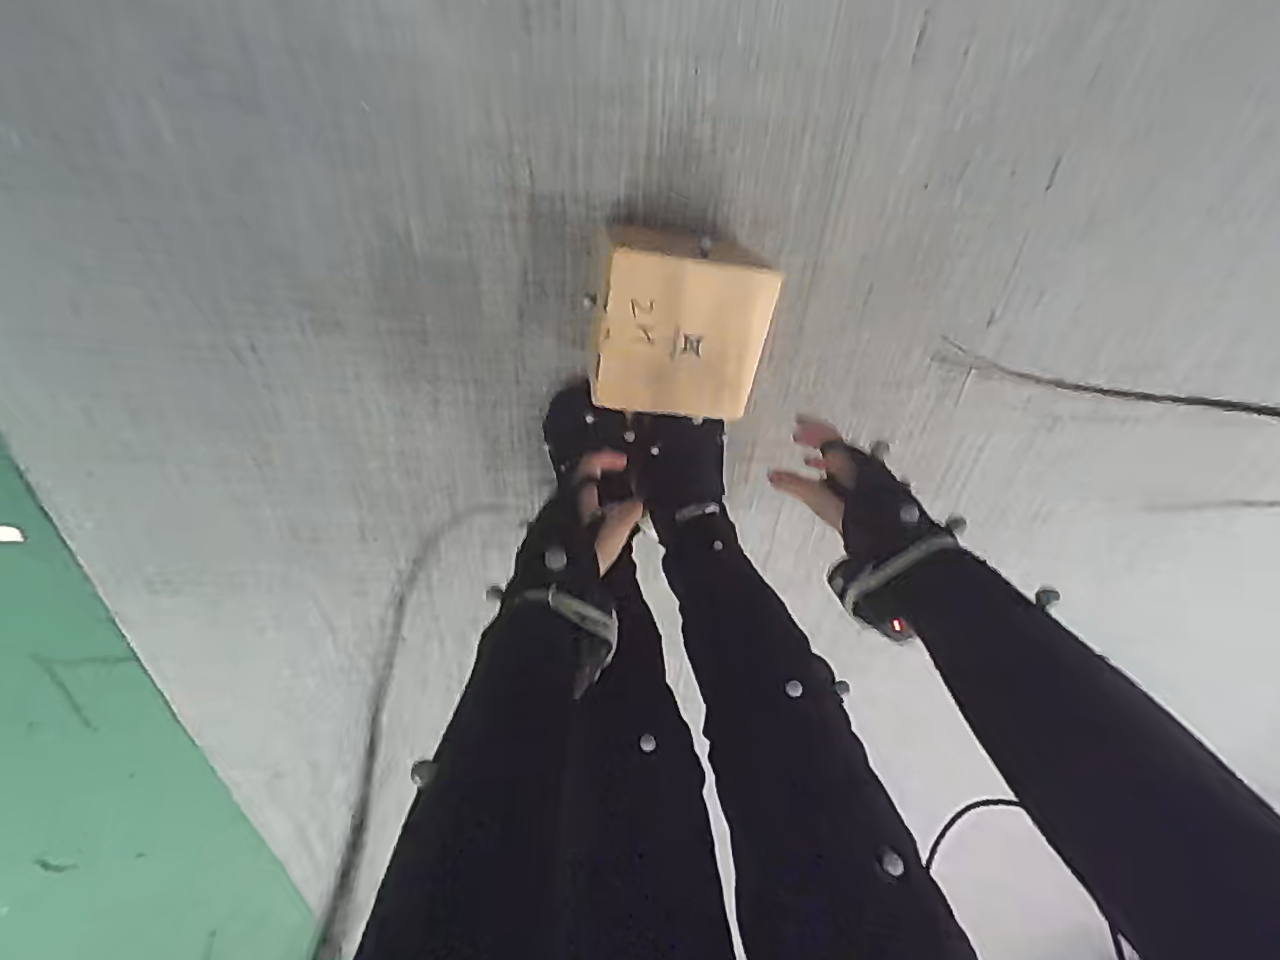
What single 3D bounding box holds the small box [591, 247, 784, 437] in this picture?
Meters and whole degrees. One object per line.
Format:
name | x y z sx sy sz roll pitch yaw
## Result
small box | 0.040 -0.167 0.640 0.179 0.176 0.168 4 122 -10
